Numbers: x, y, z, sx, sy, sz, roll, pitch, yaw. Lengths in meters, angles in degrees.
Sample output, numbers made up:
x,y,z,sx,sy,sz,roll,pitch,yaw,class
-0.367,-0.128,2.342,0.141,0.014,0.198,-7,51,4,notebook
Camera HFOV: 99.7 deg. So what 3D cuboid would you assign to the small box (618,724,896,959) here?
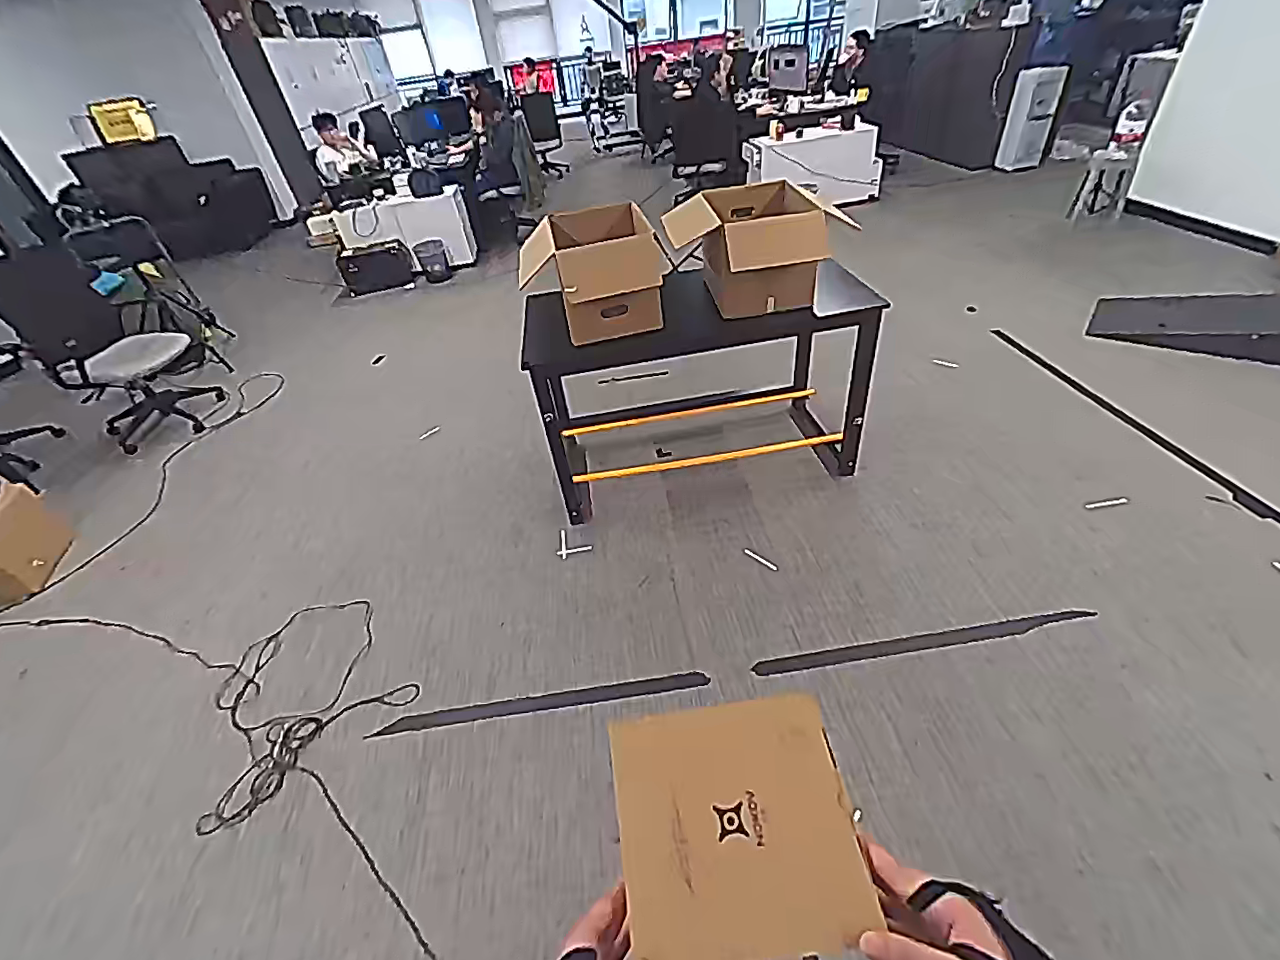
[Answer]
x,y,z,sx,sy,sz,roll,pitch,yaw,class
0.081,0.327,0.467,0.179,0.176,0.168,-9,53,-3,small box
